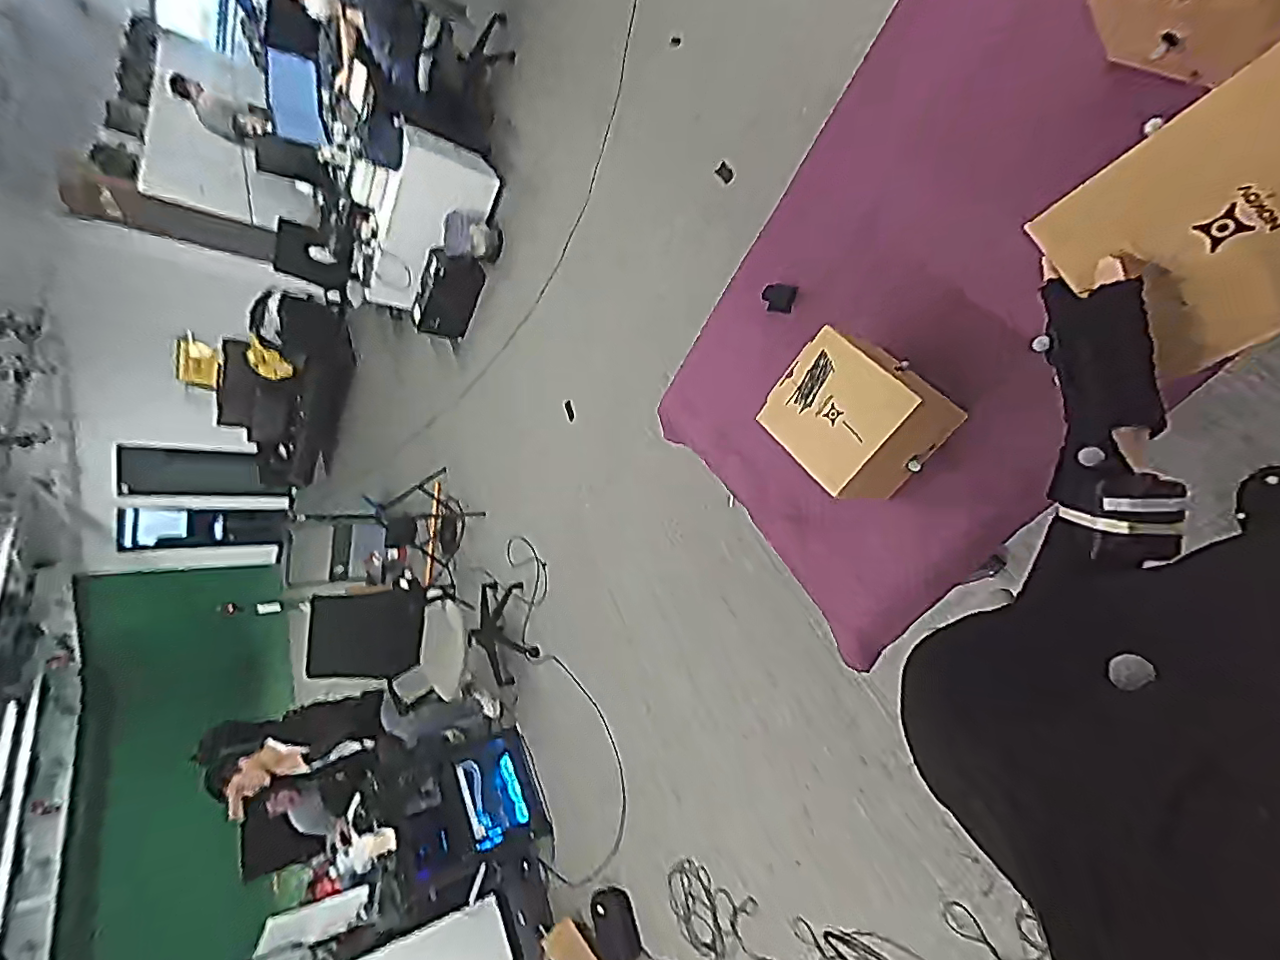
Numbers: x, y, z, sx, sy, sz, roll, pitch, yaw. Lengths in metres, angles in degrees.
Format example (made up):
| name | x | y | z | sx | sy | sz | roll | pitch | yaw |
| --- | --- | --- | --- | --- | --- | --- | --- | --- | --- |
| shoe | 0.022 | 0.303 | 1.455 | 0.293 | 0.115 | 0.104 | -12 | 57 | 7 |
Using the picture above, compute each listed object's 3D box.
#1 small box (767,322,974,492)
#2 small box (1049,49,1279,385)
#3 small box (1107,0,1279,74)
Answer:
| name | x | y | z | sx | sy | sz | roll | pitch | yaw |
| --- | --- | --- | --- | --- | --- | --- | --- | --- | --- |
| small box | 0.325 | -0.094 | 0.771 | 0.179 | 0.176 | 0.168 | 55 | 127 | 35 |
| small box | 0.462 | -0.198 | 0.409 | 0.179 | 0.176 | 0.168 | -39 | 77 | 47 |
| small box | 0.578 | -0.518 | 0.496 | 0.168 | 0.176 | 0.179 | 56 | 129 | 35 |
